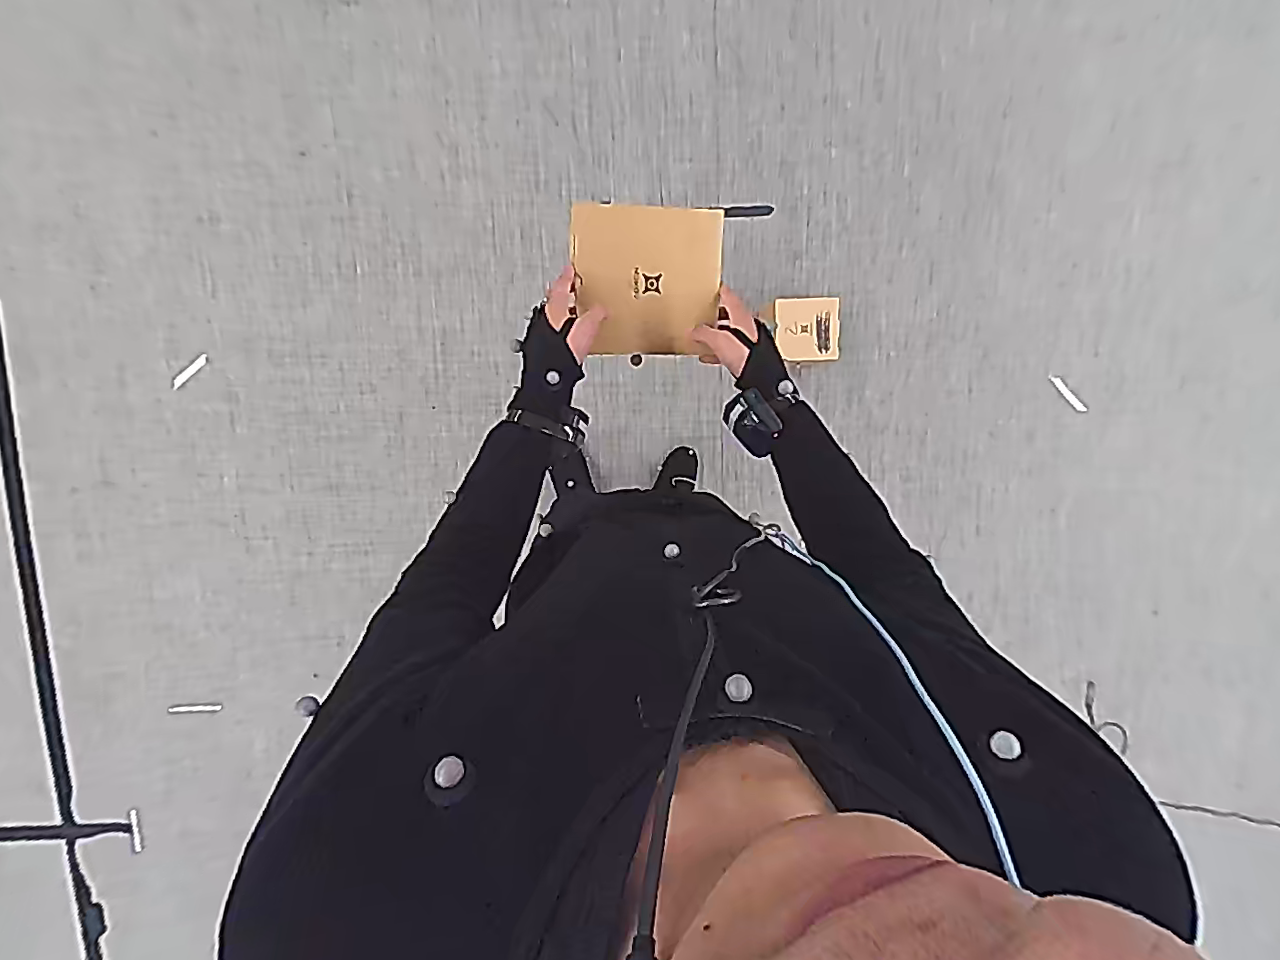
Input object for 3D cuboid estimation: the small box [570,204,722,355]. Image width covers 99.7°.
[{"bbox_3d":[-0.002,-0.257,0.709,0.179,0.176,0.168,-1,109,-6],"label":"small box"}]
